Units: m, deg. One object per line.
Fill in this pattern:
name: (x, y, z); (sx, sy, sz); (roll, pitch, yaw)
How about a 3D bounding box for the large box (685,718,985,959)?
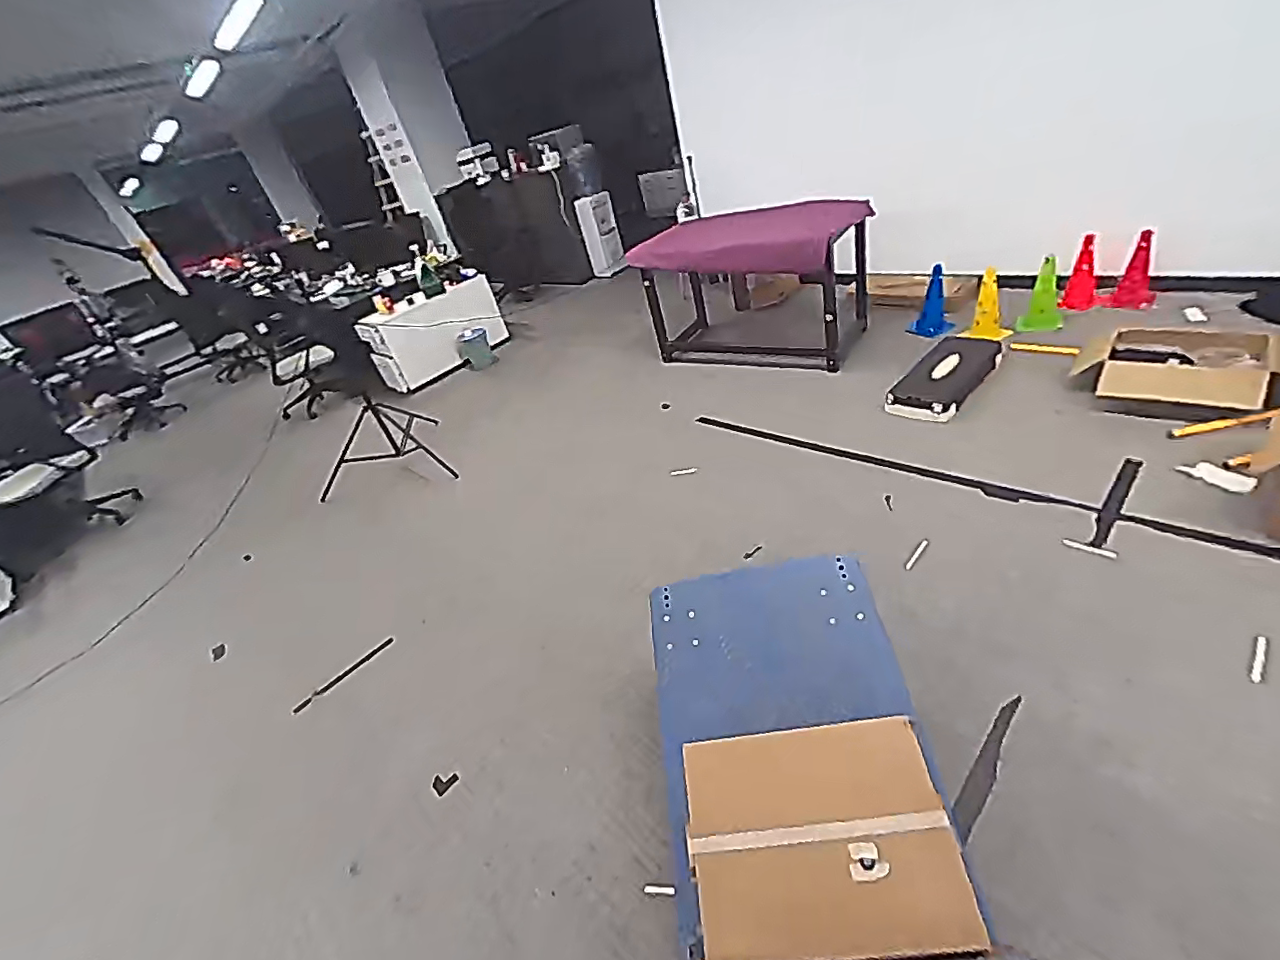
large box: (0.319, 0.673, 0.996); (0.408, 0.320, 0.320); (-12, 51, 7)
